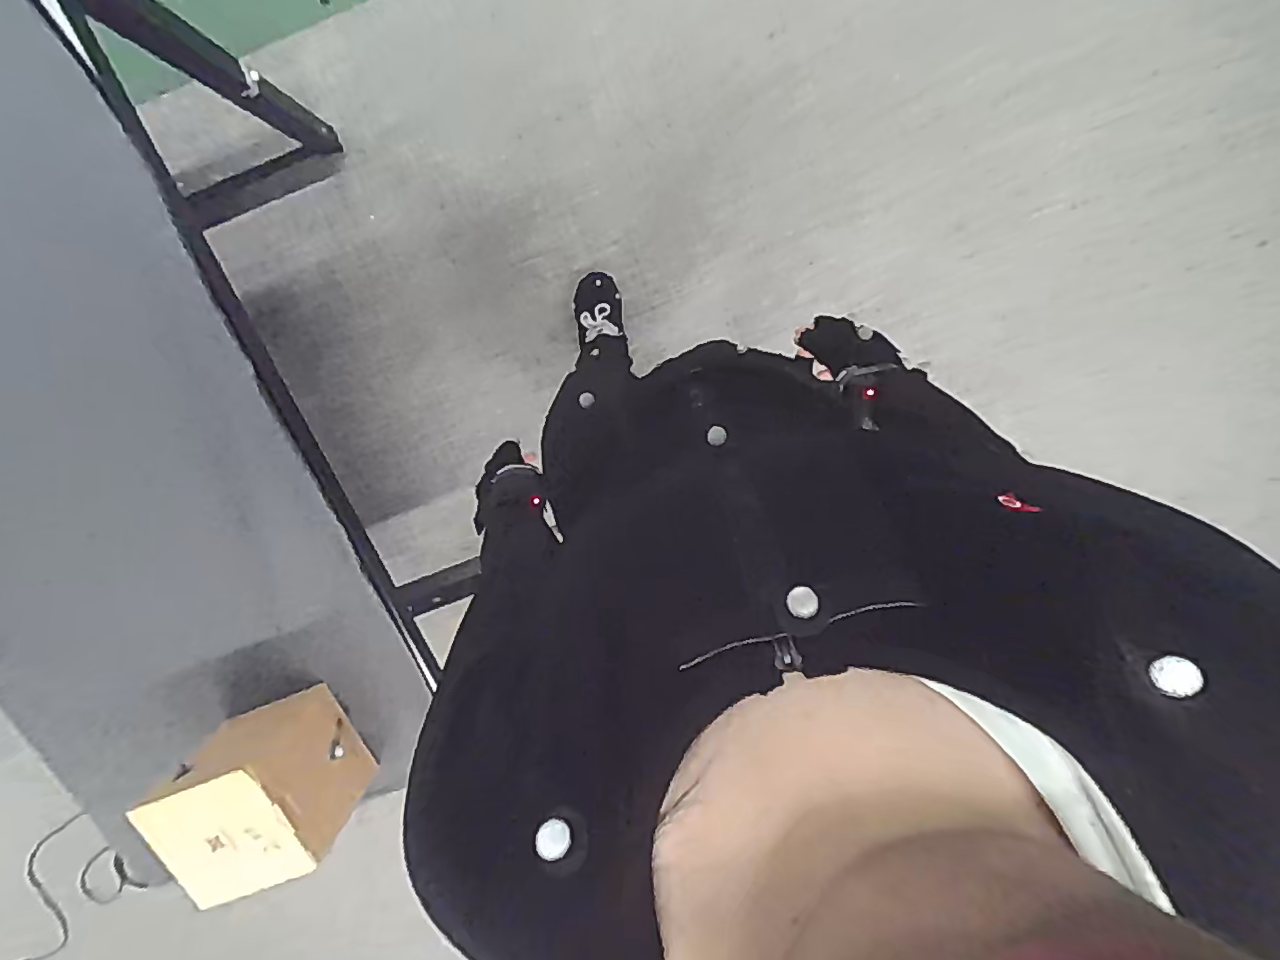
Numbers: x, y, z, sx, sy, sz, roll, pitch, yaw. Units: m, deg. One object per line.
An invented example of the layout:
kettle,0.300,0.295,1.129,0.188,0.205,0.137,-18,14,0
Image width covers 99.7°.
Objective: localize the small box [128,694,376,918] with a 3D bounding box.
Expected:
small box,-0.504,0.428,0.732,0.179,0.176,0.168,-22,103,5
